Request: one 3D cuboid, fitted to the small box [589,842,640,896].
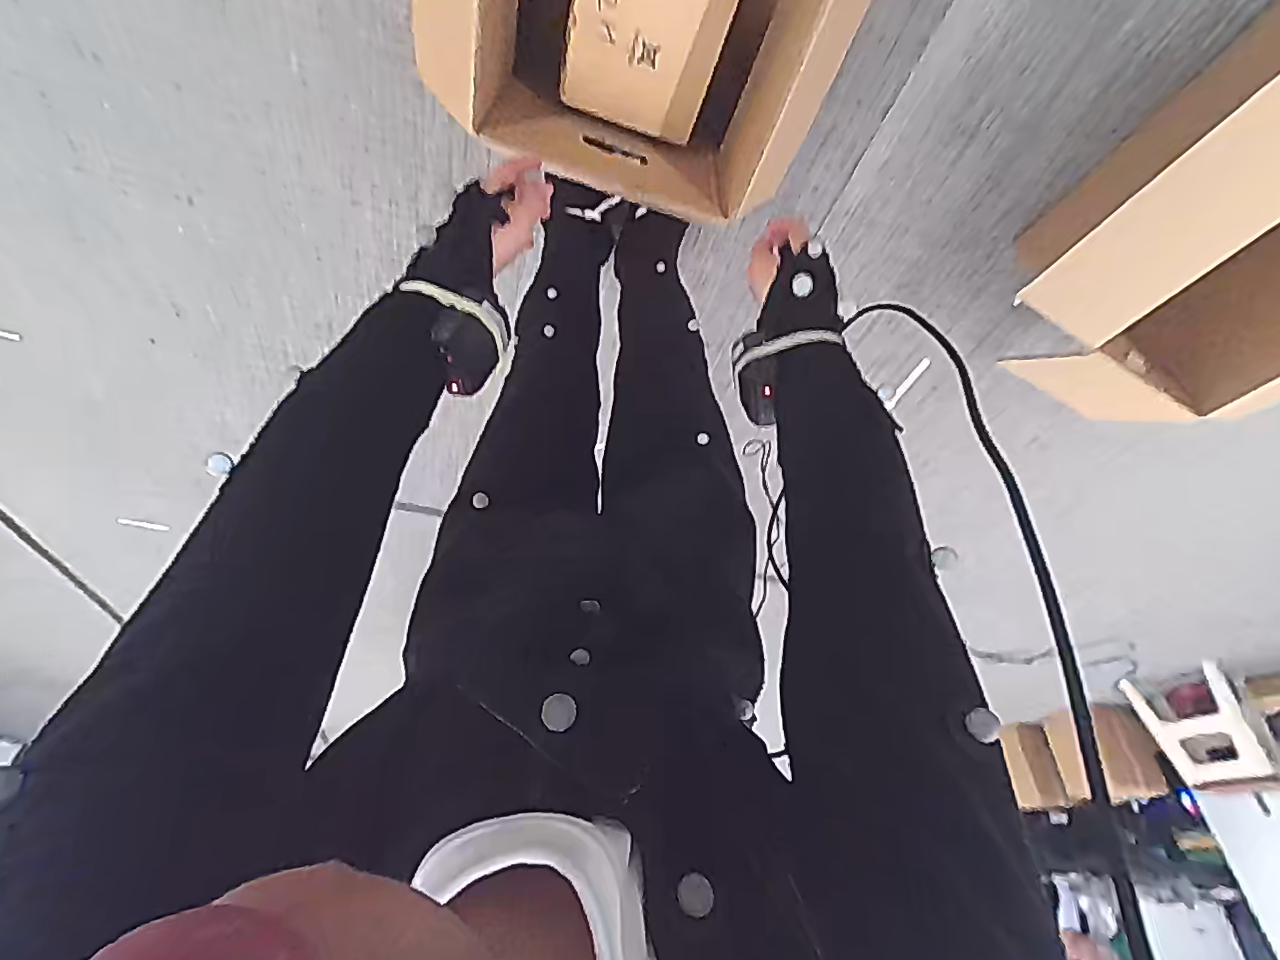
[{"bbox_3d":[-0.105,1.601,2.226,0.179,0.176,0.168,10,140,-10],"label":"small box"}]

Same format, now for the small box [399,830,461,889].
[{"bbox_3d":[-0.793,1.438,2.049,0.179,0.176,0.168,17,137,-16],"label":"small box"}]
